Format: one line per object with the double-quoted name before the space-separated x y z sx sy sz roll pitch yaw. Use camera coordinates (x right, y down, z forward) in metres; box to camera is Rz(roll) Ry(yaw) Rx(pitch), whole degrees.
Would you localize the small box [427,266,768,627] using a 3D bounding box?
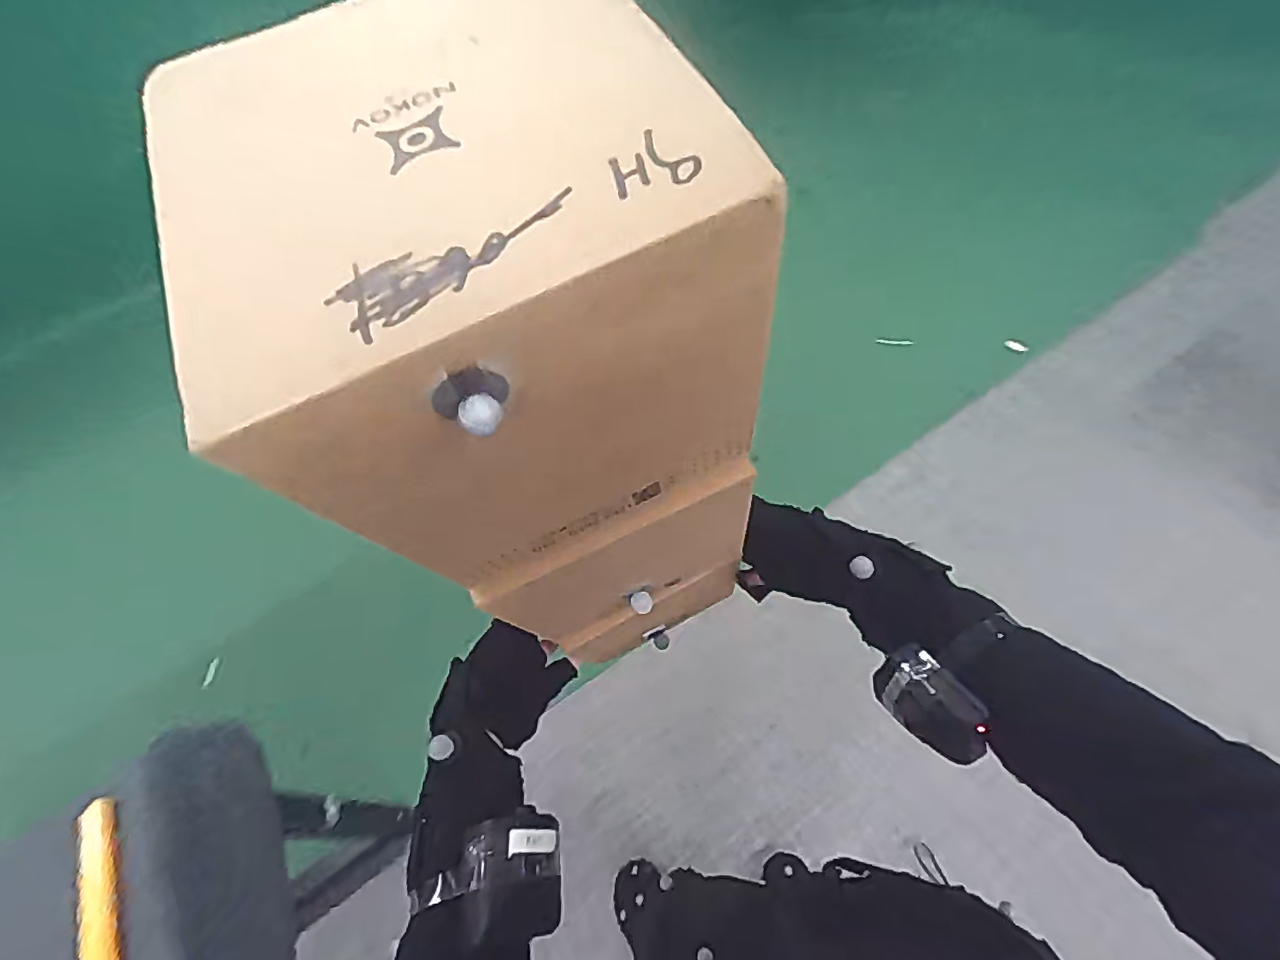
"small box" -0.026 -0.012 0.399 0.168 0.176 0.179 -24 66 -2
